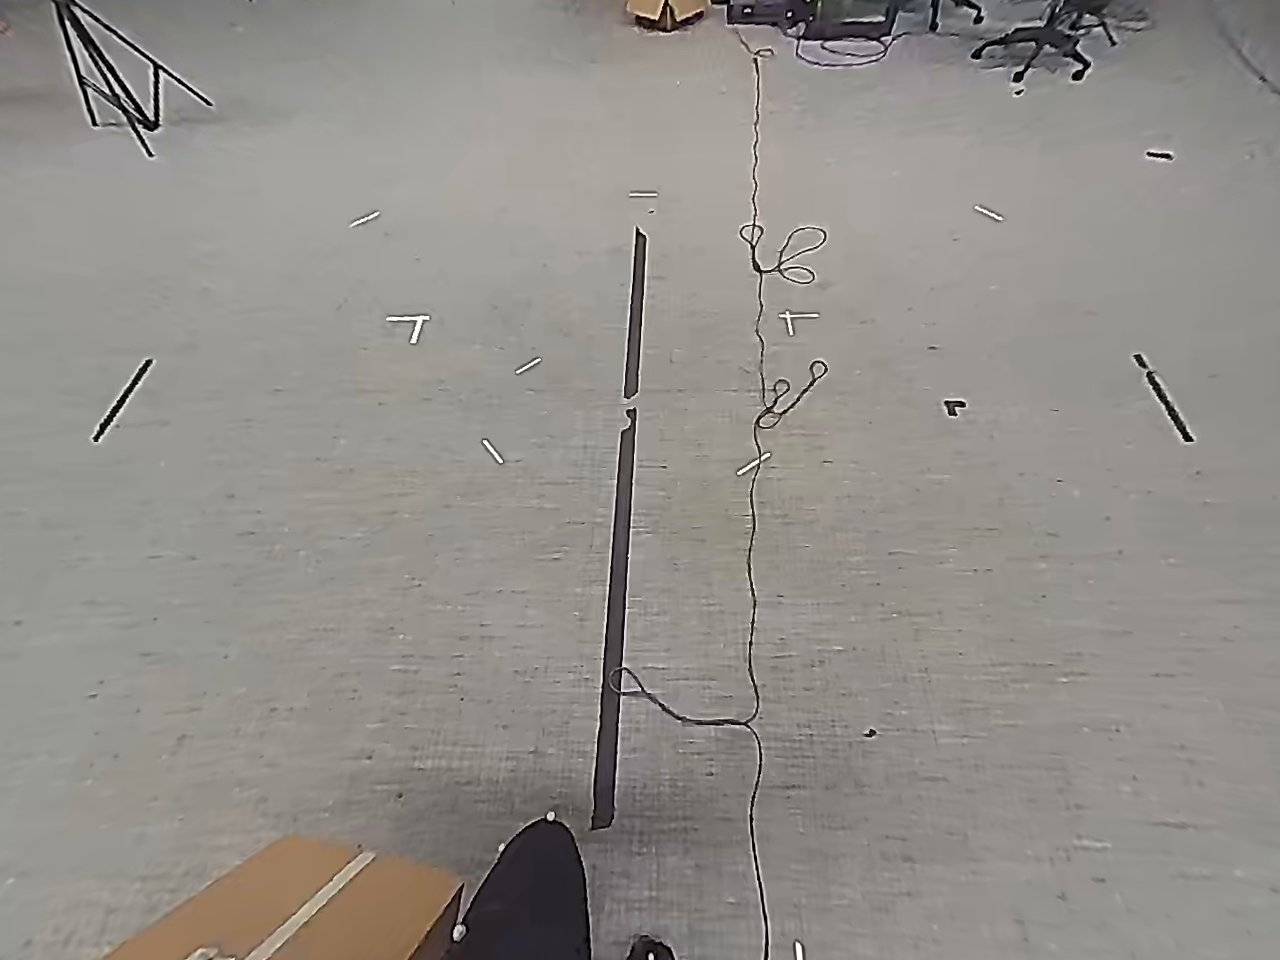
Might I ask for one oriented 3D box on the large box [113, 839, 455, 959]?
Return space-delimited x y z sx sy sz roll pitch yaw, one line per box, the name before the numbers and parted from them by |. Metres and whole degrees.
large box | -0.477 0.730 0.652 0.320 0.408 0.320 8 83 7
